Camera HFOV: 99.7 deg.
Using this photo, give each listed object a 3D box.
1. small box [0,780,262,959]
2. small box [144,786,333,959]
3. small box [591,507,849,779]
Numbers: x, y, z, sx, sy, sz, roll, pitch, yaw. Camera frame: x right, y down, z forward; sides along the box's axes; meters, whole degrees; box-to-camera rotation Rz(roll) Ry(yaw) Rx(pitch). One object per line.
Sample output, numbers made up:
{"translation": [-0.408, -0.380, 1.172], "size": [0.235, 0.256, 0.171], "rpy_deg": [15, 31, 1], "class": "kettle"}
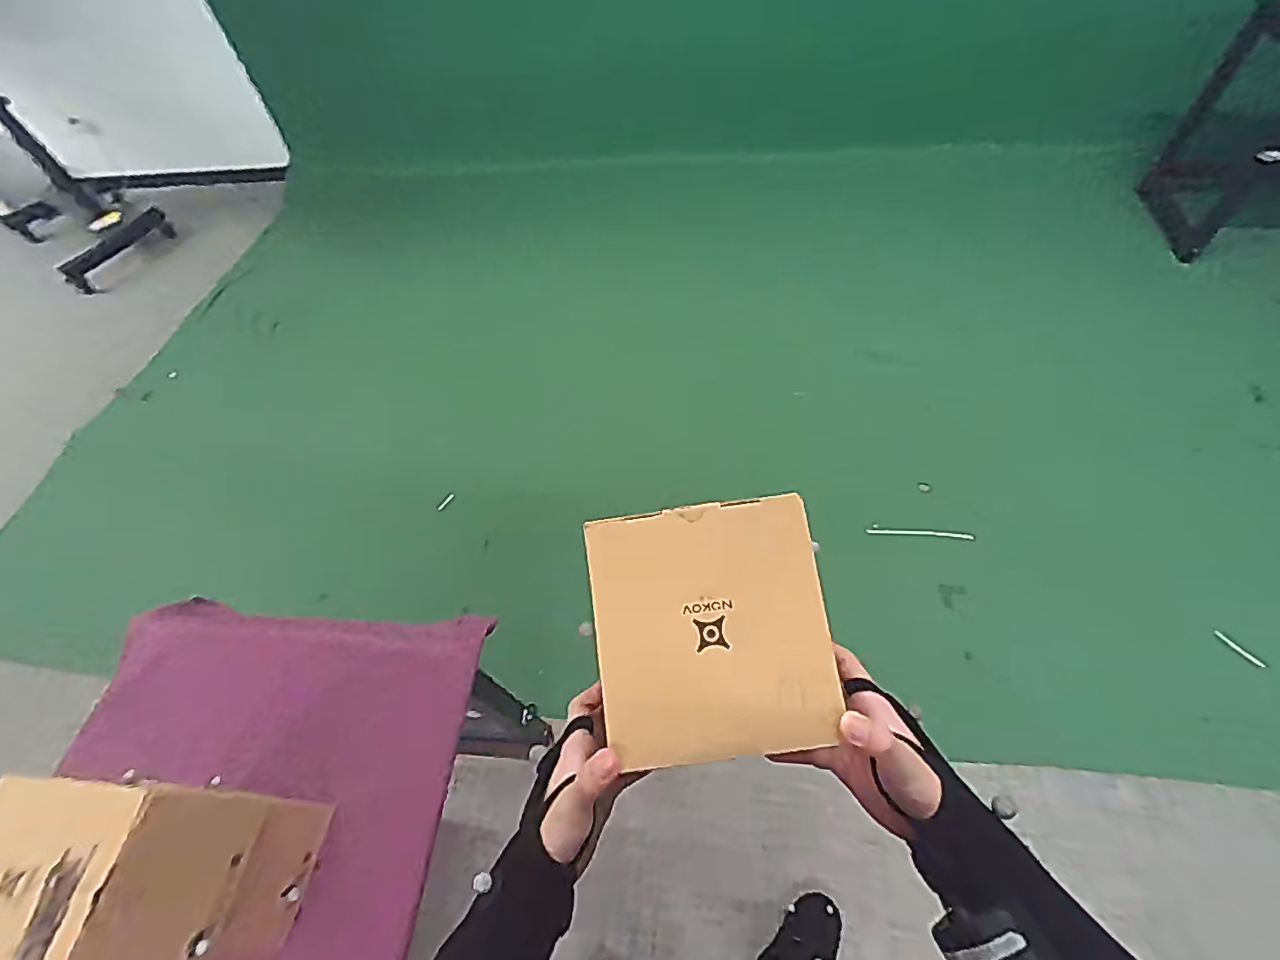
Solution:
{"translation": [-0.540, 0.409, 0.546], "size": [0.179, 0.176, 0.168], "rpy_deg": [0, 57, 9], "class": "small box"}
{"translation": [-0.541, 0.499, 0.684], "size": [0.179, 0.176, 0.168], "rpy_deg": [3, 57, 9], "class": "small box"}
{"translation": [0.058, 0.131, 0.462], "size": [0.168, 0.176, 0.179], "rpy_deg": [-7, 75, 2], "class": "small box"}
